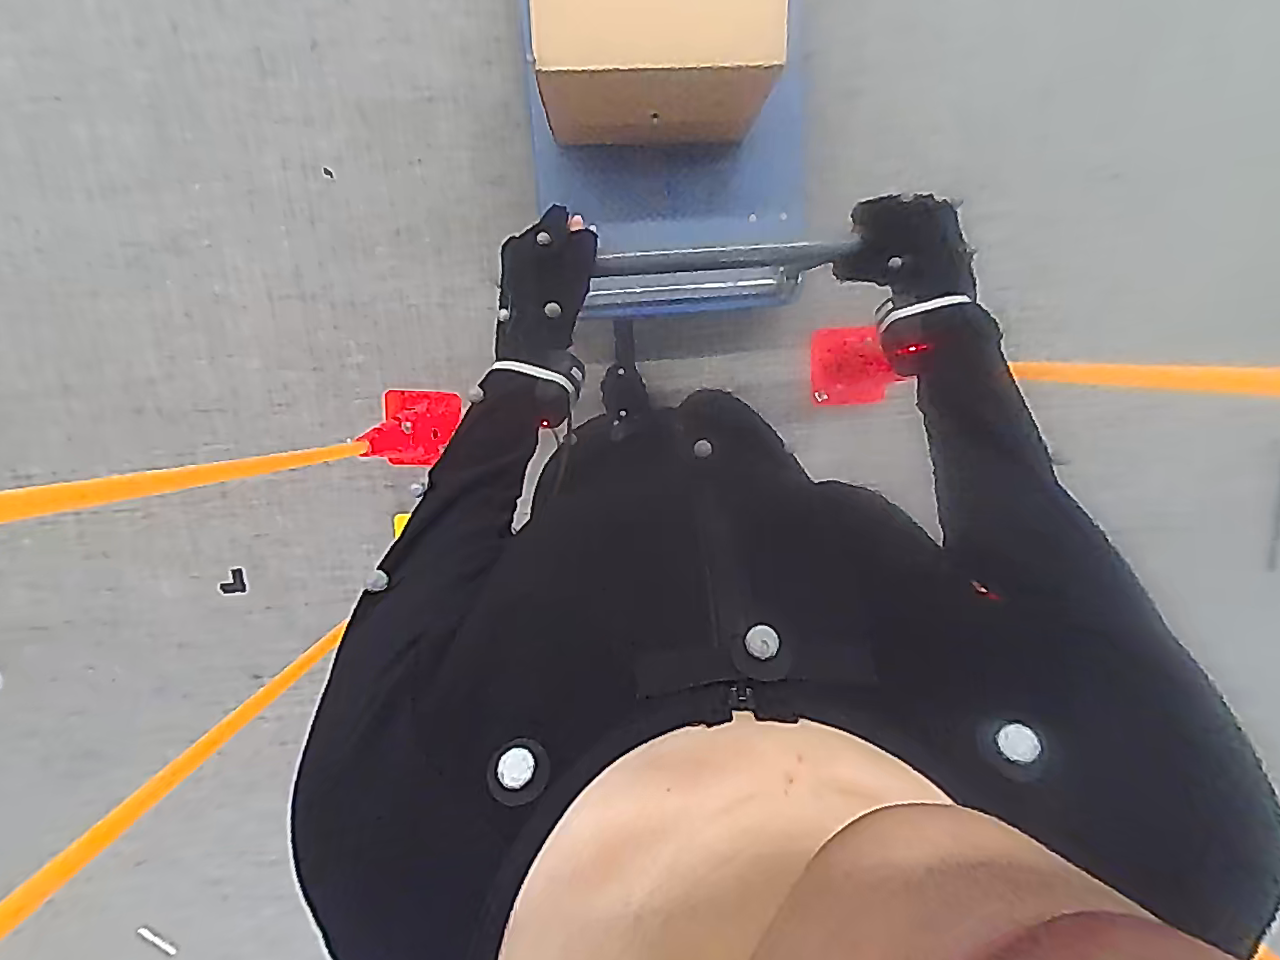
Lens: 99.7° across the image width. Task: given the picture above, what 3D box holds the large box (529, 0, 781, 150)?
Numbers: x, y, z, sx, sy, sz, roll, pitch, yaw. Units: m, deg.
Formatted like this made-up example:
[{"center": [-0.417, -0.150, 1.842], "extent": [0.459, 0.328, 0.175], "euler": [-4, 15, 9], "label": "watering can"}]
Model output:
[{"center": [0.020, -0.832, 0.986], "extent": [0.408, 0.320, 0.320], "euler": [-3, 102, 0], "label": "large box"}]

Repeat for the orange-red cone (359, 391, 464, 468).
[{"center": [-0.558, -0.102, 1.261], "extent": [0.198, 0.360, 0.199], "euler": [3, 99, -3], "label": "orange-red cone"}]

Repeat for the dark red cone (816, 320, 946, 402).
[{"center": [0.563, -0.273, 1.235], "extent": [0.201, 0.394, 0.202], "euler": [-5, 101, -2], "label": "dark red cone"}]
